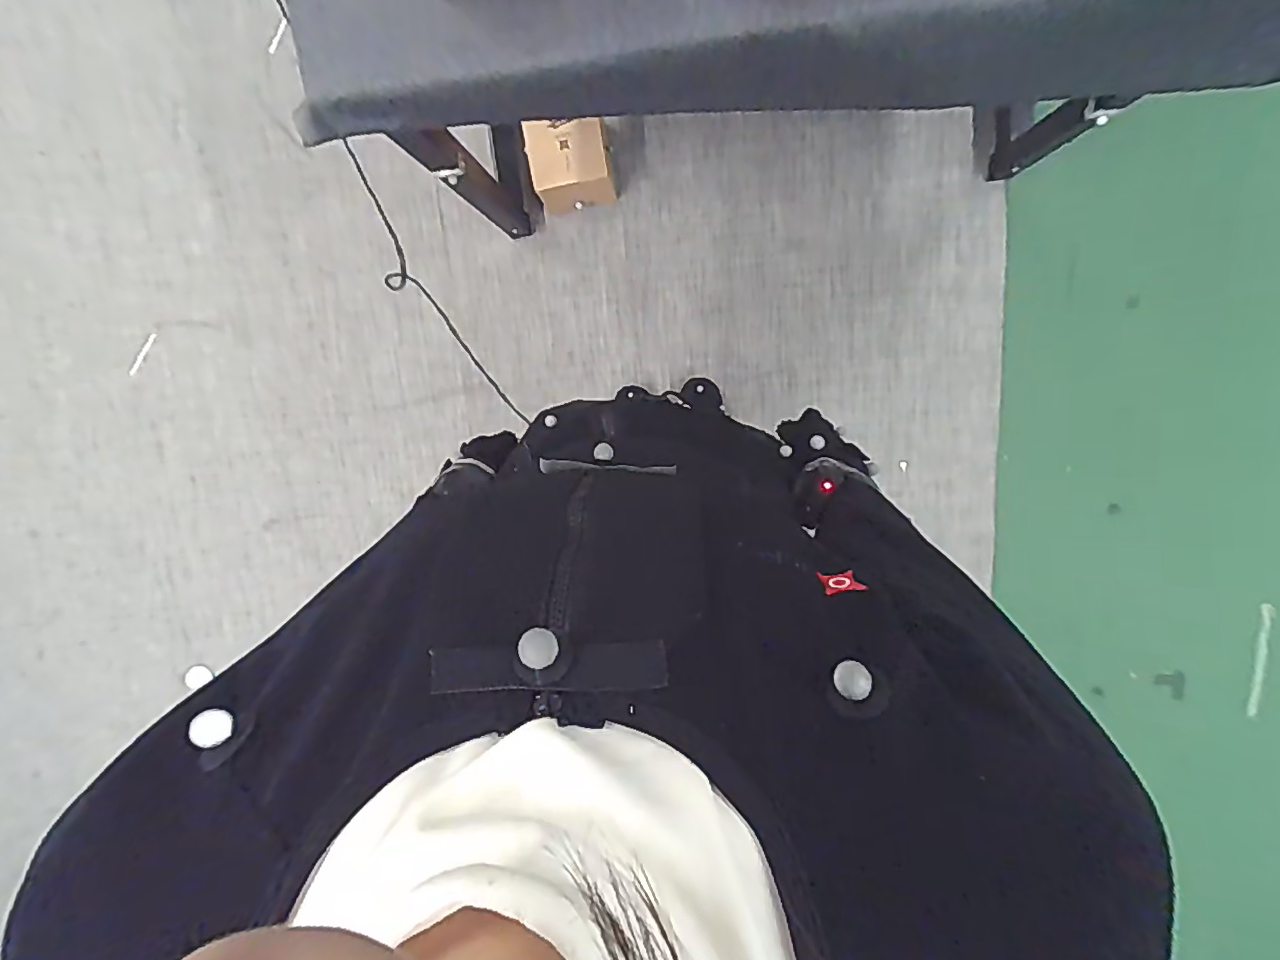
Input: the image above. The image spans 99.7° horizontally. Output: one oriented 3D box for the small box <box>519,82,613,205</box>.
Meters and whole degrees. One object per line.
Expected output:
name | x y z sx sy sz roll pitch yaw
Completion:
small box | -0.160 -0.751 1.224 0.168 0.176 0.179 -8 101 5
